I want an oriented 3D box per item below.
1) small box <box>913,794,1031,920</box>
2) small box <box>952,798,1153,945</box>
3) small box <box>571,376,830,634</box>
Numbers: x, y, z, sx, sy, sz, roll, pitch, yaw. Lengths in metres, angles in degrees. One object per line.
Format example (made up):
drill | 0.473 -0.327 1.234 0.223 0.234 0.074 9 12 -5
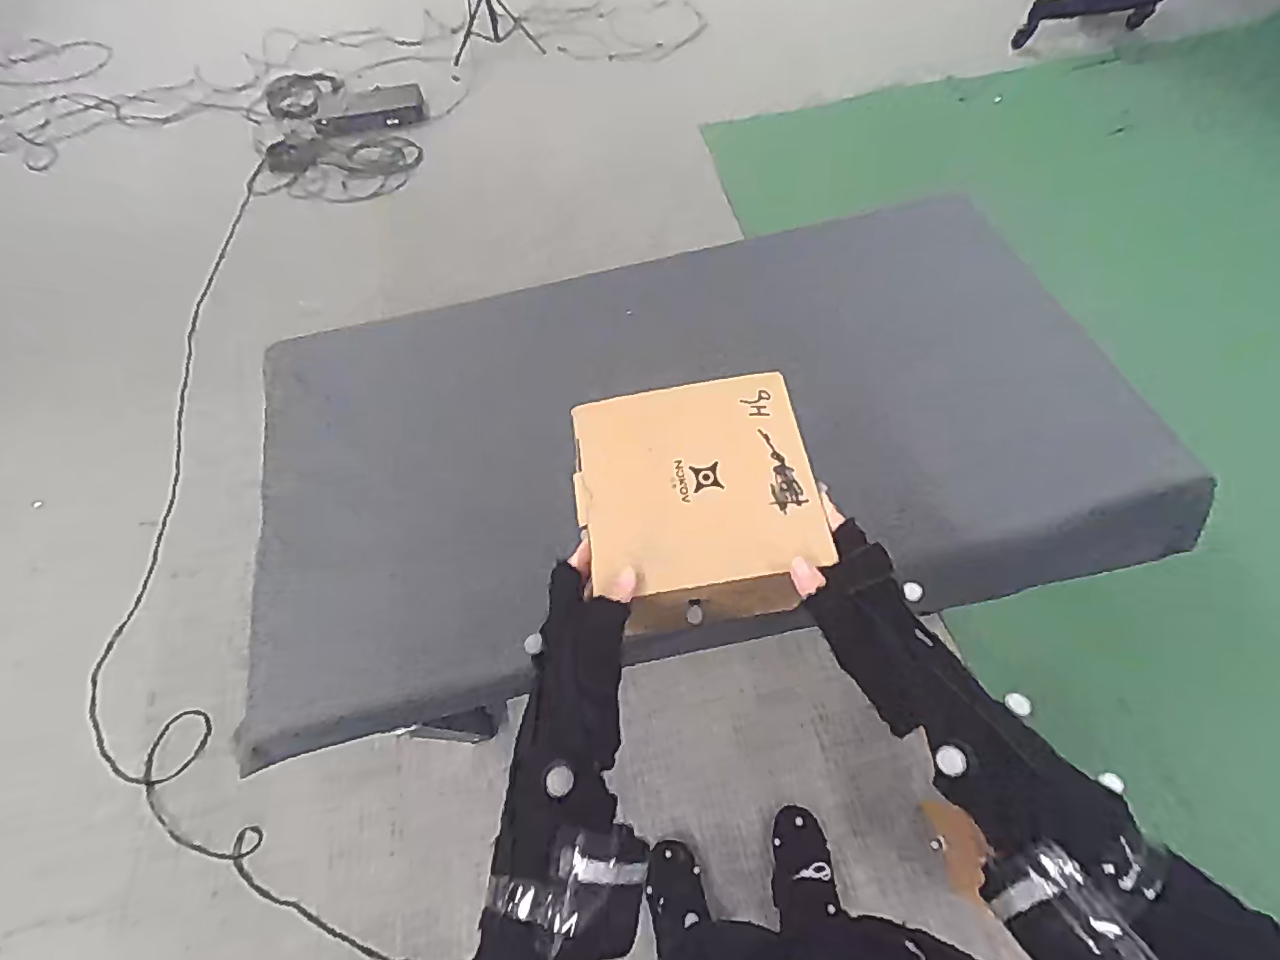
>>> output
small box | 0.677 0.724 1.057 0.179 0.176 0.168 -11 61 -3
small box | 0.675 0.645 0.912 0.179 0.176 0.168 -9 61 -2
small box | 0.046 0.034 0.480 0.179 0.176 0.168 -9 66 2
